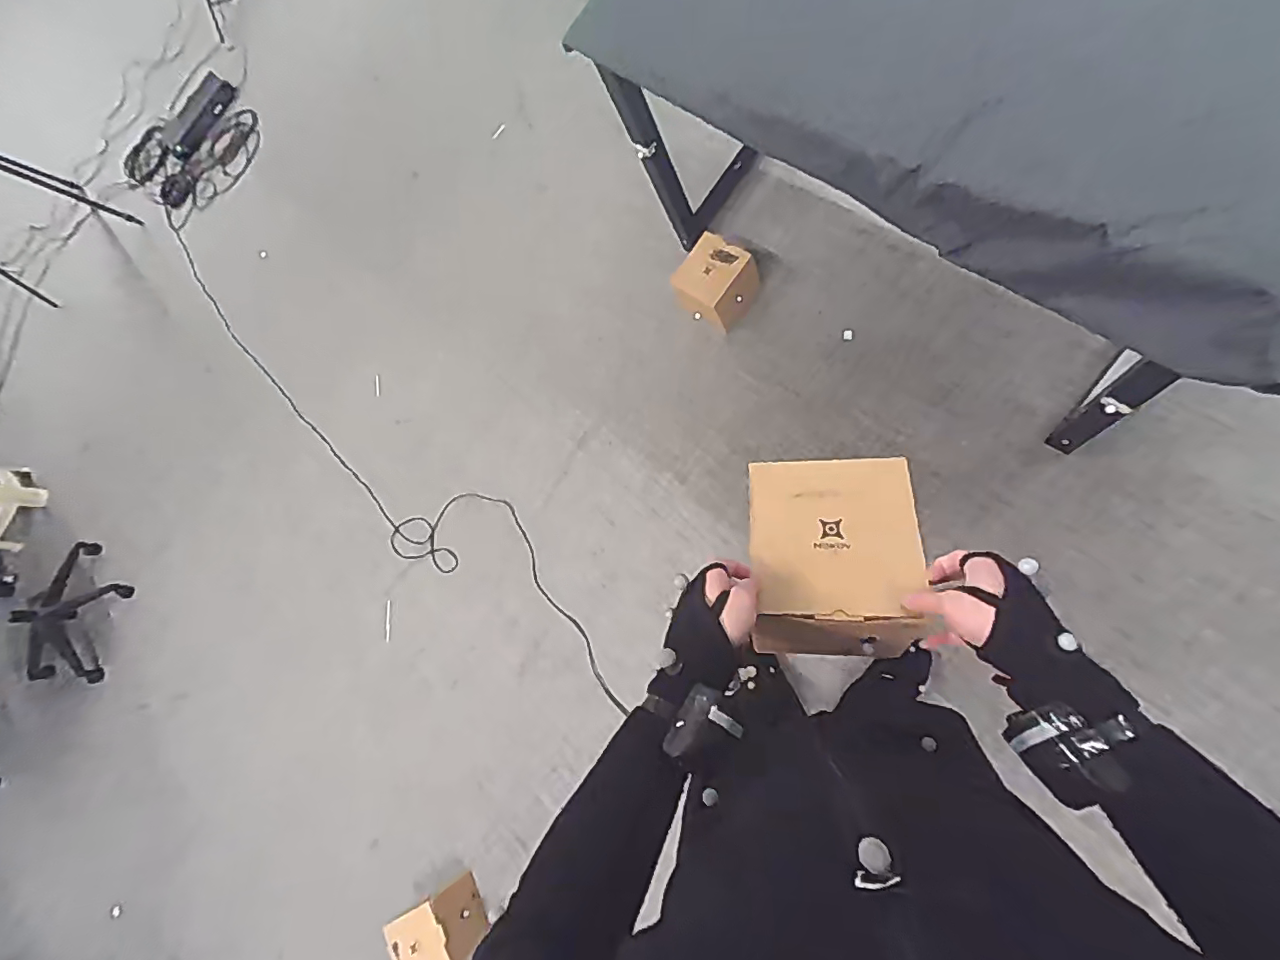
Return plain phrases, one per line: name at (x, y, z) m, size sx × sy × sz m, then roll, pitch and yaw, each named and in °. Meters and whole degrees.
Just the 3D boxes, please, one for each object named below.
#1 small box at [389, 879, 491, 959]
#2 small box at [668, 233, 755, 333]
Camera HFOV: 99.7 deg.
small box at (-0.527, 1.226, 1.455) m, size 0.179 × 0.176 × 0.168 m, roll -35°, pitch 70°, yaw 10°
small box at (0.211, -0.558, 1.547) m, size 0.168 × 0.176 × 0.179 m, roll 38°, pitch 95°, yaw 24°
